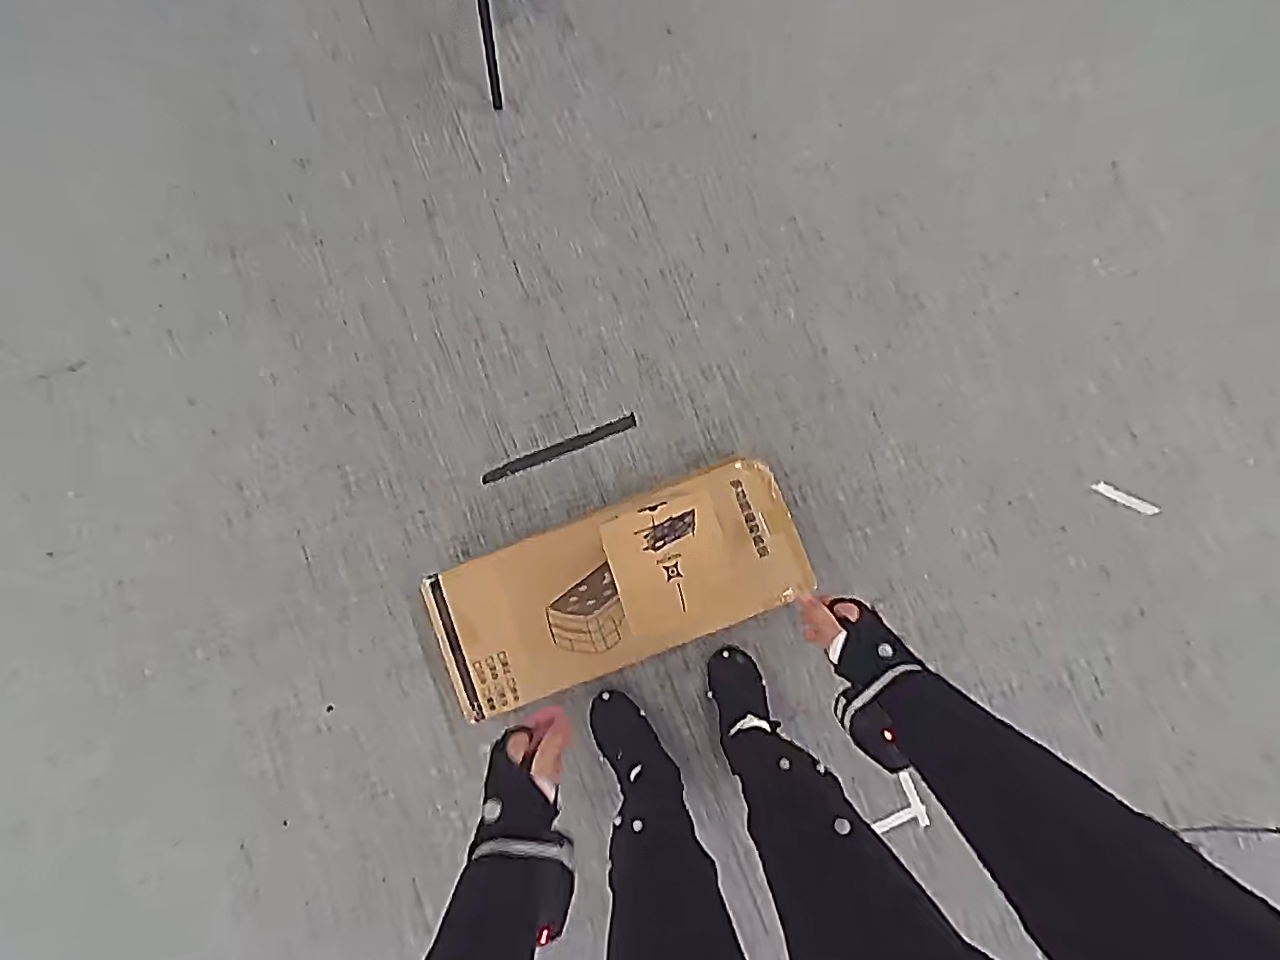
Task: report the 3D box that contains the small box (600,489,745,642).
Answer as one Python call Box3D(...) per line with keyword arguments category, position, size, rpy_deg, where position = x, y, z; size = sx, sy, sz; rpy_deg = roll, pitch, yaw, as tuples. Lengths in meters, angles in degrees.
Box3D(category="small box", position=(0.043, 0.126, 0.829), size=(0.168, 0.176, 0.179), rpy_deg=(-18, 85, -2))
